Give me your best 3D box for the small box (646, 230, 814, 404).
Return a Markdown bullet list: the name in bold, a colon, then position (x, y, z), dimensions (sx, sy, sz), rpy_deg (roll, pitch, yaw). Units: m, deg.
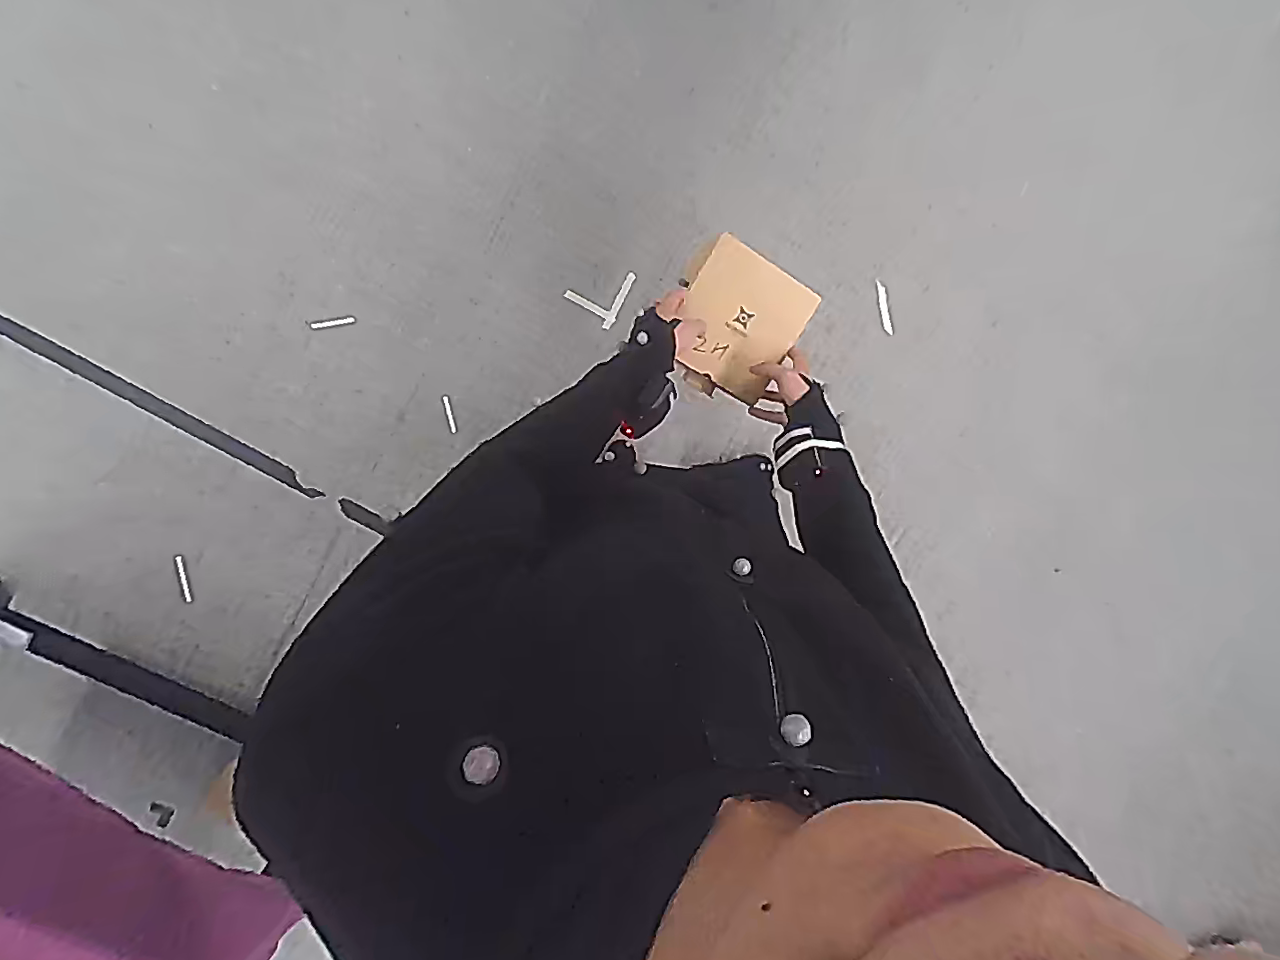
- **small box**: position (0.120, -0.238, 0.808), dimensions (0.168, 0.176, 0.179), rpy_deg (28, 102, -12)
